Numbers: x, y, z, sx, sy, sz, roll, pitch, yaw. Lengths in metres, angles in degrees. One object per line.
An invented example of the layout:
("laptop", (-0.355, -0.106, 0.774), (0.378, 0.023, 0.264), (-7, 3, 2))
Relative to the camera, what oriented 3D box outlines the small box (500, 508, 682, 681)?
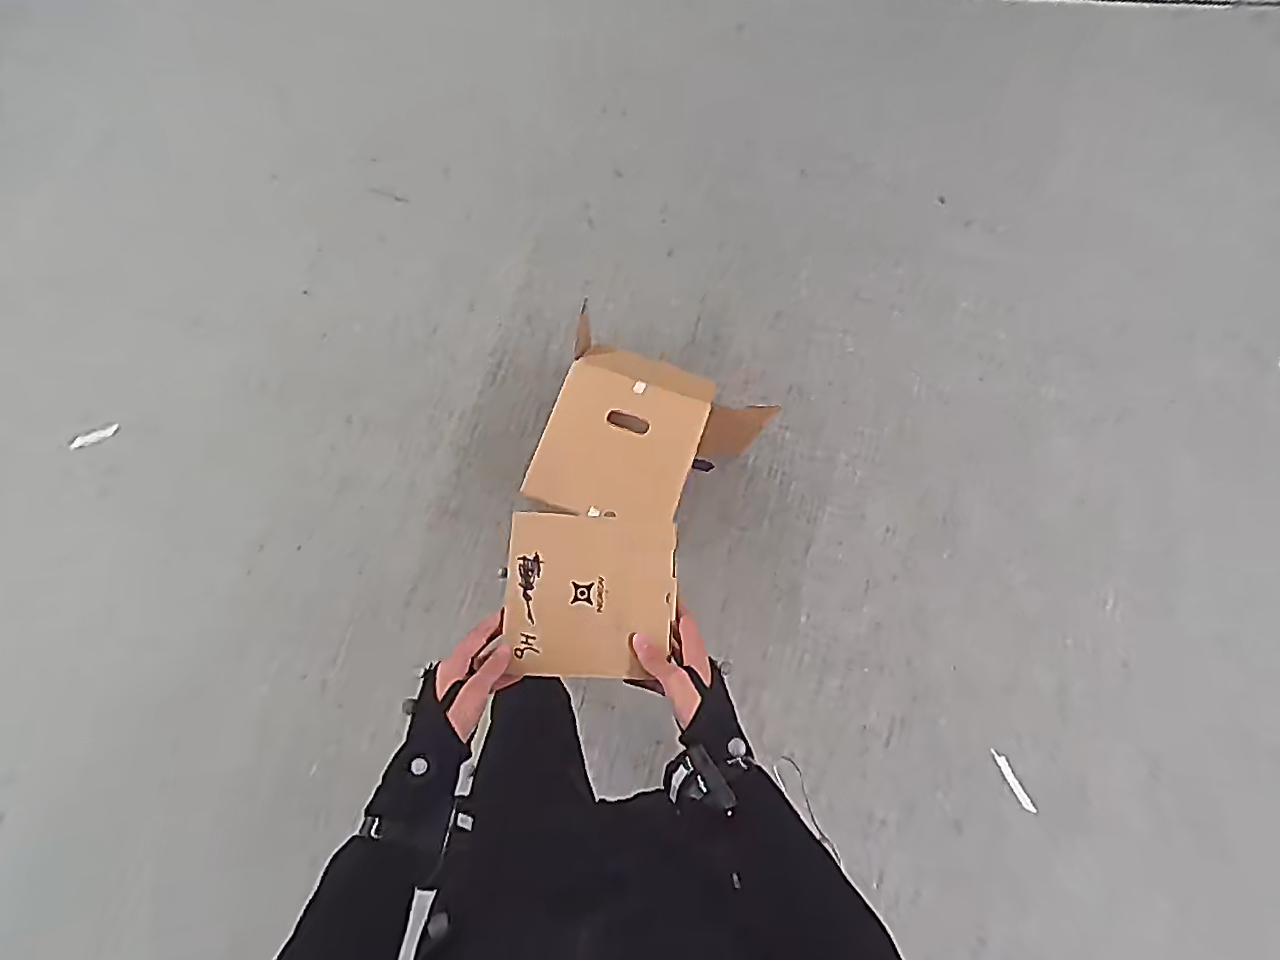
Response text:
("small box", (-0.055, 0.130, 0.638), (0.179, 0.176, 0.168), (5, 80, -4))
